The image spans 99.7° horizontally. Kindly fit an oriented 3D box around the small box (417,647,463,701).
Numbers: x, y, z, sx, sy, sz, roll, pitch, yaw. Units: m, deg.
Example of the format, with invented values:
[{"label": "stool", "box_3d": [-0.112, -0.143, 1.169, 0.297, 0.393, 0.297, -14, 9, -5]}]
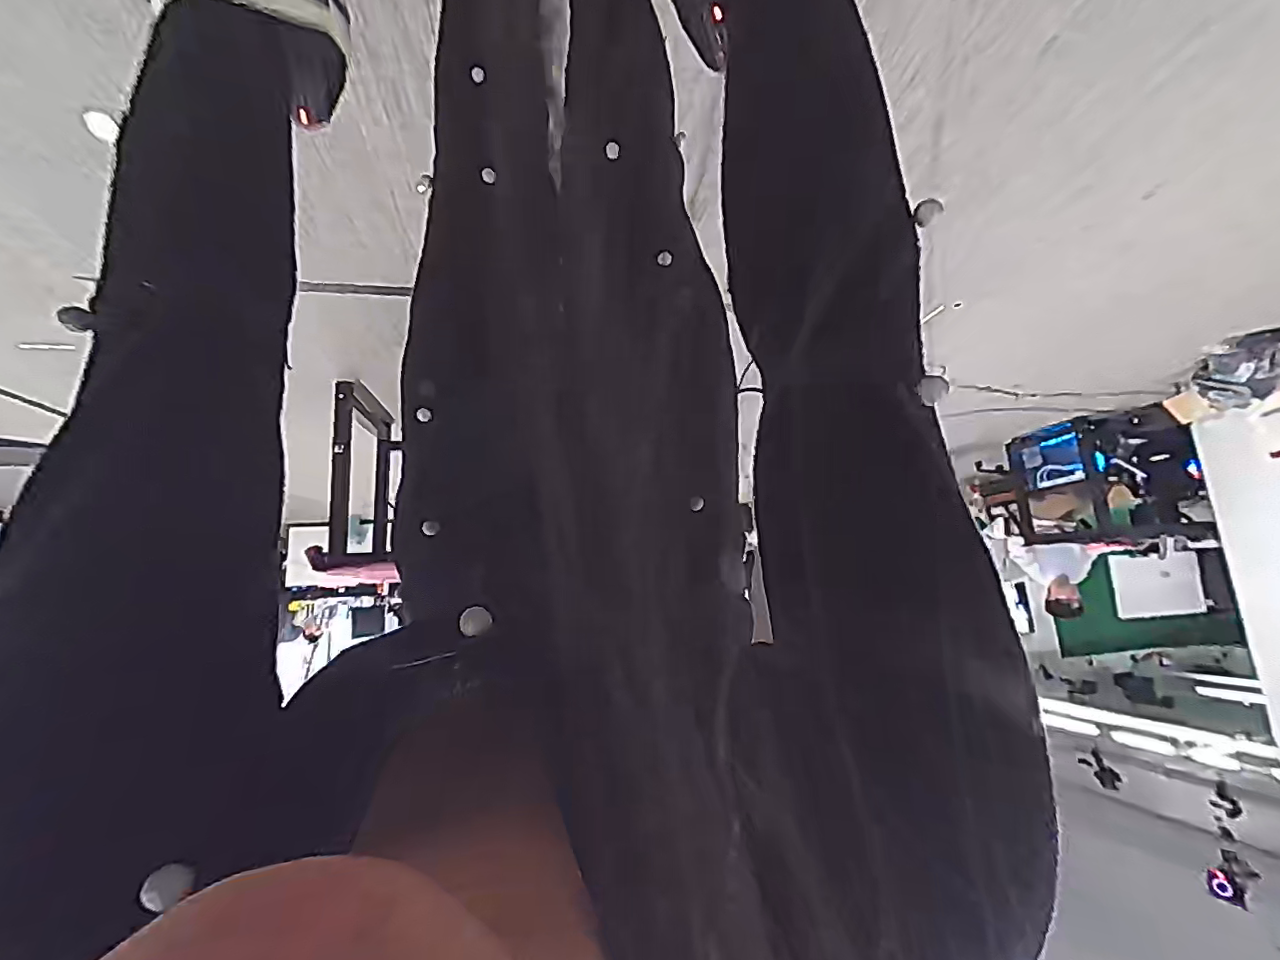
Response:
[{"label": "small box", "box_3d": [-0.803, 0.774, 2.170, 0.168, 0.176, 0.179, 1, 169, -18]}]
